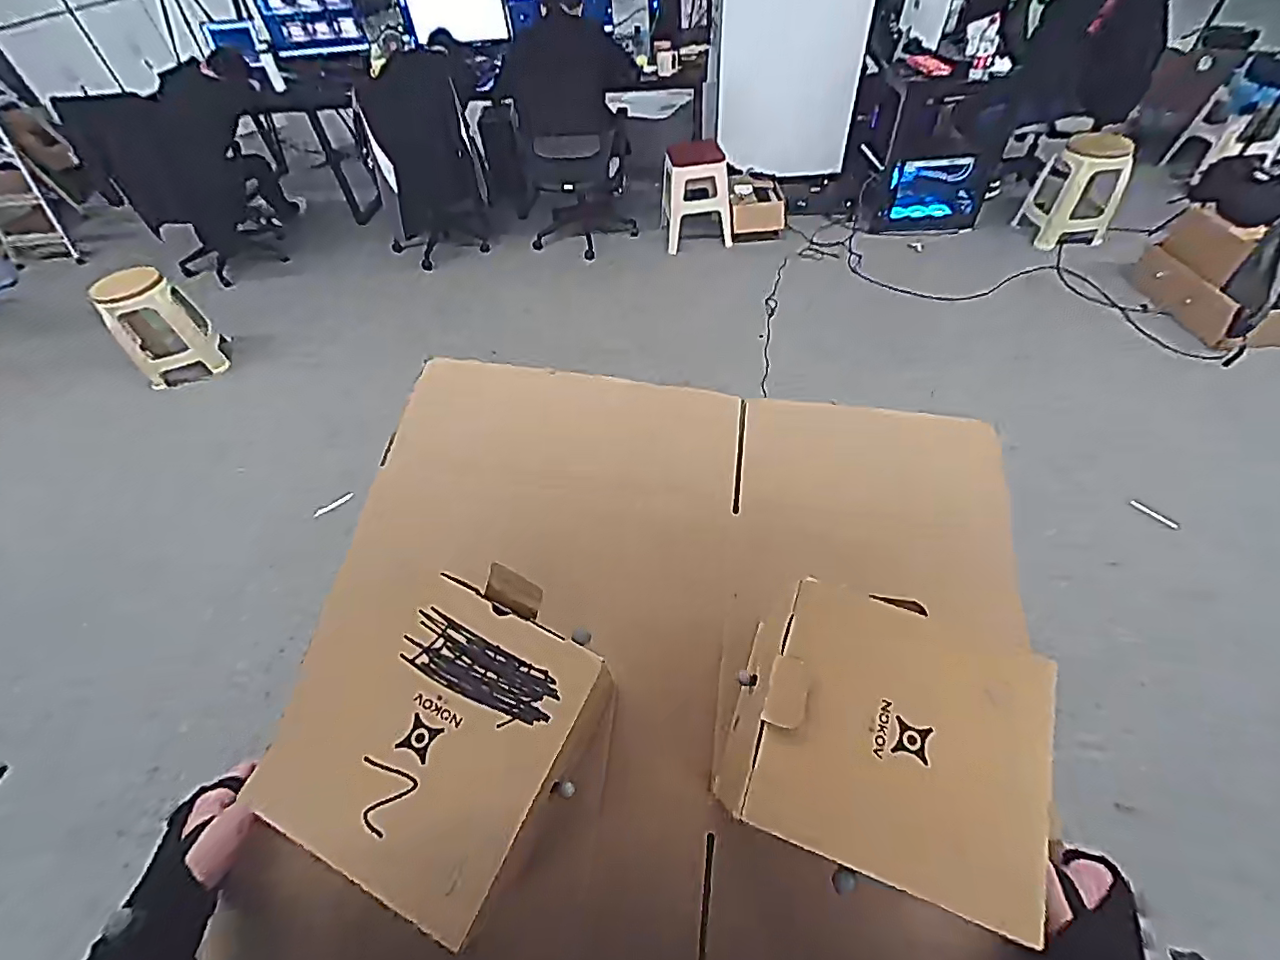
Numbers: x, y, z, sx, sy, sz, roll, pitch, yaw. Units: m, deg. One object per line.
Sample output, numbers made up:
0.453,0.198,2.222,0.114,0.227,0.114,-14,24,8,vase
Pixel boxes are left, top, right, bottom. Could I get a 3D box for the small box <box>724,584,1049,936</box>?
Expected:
0.177,0.204,0.431,0.179,0.176,0.168,17,67,11,small box
